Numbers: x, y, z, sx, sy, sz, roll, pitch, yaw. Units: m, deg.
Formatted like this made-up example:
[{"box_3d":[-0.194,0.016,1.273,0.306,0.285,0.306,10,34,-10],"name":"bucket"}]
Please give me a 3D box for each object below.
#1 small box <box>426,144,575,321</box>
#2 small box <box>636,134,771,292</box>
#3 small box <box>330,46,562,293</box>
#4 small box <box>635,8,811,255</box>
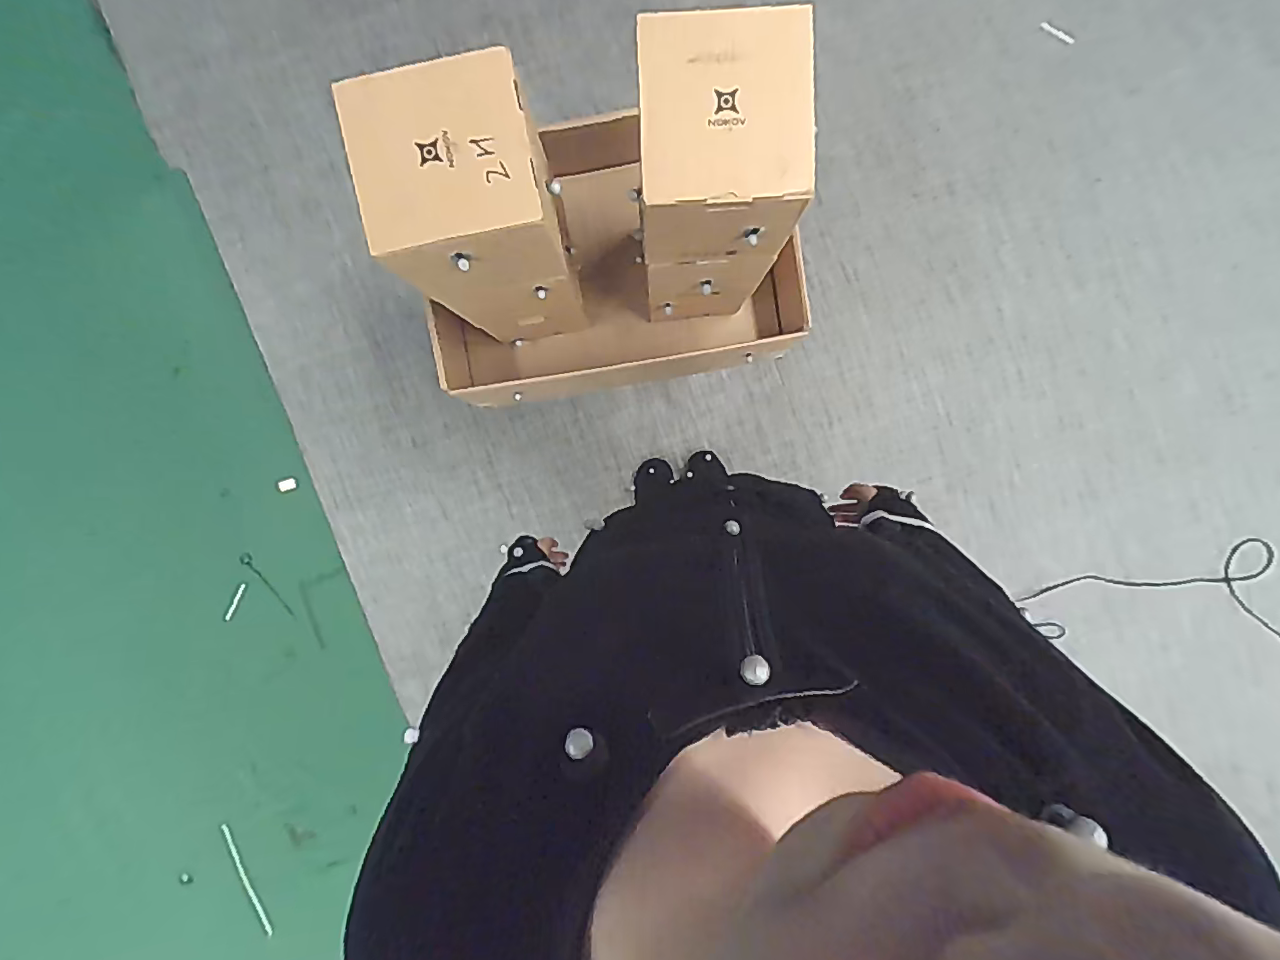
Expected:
[{"box_3d":[-0.198,-0.334,0.760,0.179,0.176,0.168,-10,94,0],"name":"small box"},{"box_3d":[0.082,-0.368,0.752,0.168,0.176,0.179,-3,95,0],"name":"small box"},{"box_3d":[-0.195,-0.320,0.595,0.179,0.176,0.168,-11,95,0],"name":"small box"},{"box_3d":[0.080,-0.356,0.589,0.168,0.176,0.179,-2,93,0],"name":"small box"}]
